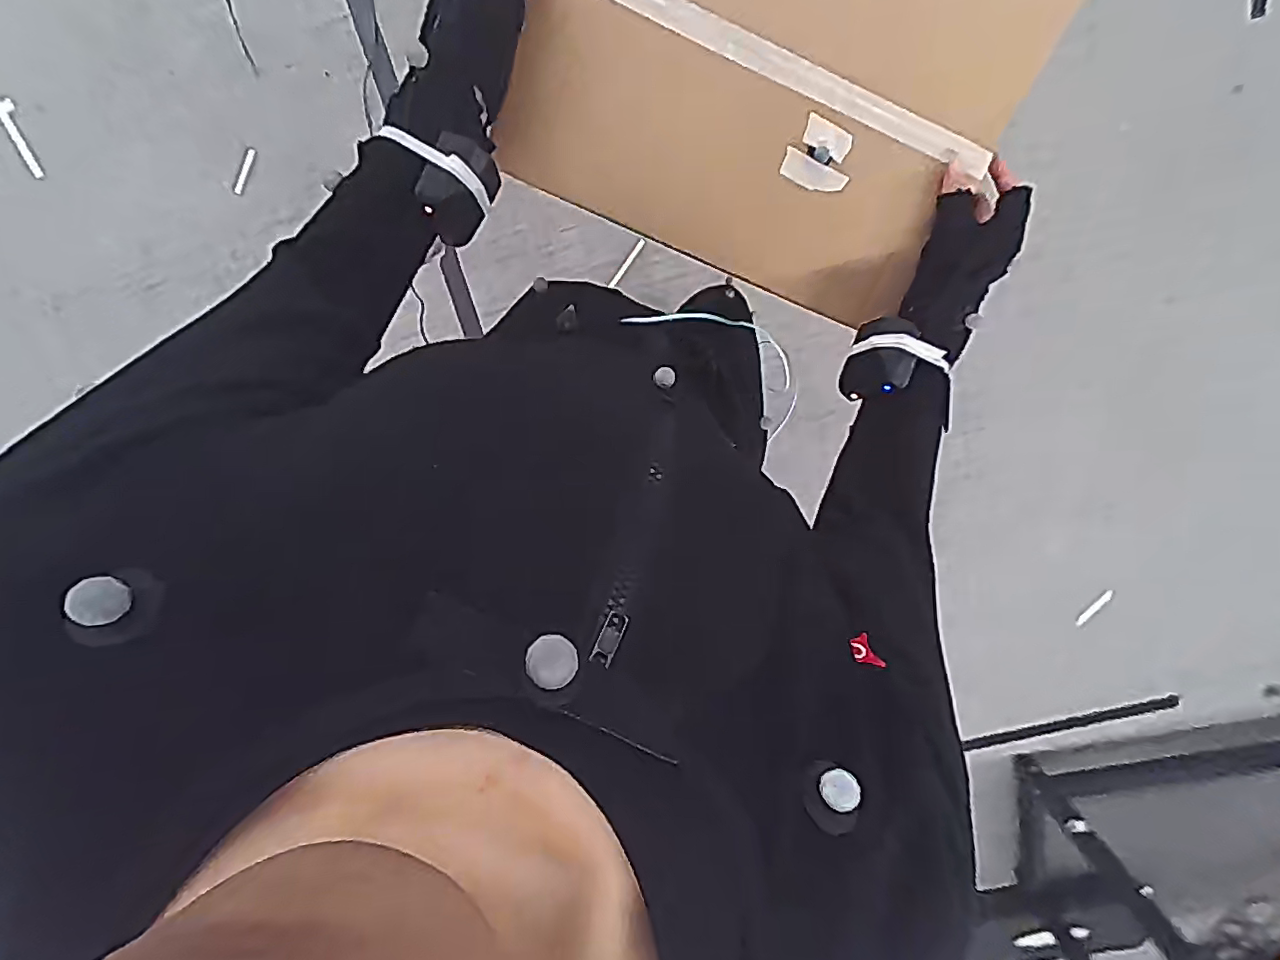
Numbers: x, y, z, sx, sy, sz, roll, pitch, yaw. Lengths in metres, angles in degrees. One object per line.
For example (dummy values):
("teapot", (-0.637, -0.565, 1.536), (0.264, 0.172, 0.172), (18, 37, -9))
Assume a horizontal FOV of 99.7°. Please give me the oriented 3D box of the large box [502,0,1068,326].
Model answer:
("large box", (0.114, -0.408, 0.588), (0.408, 0.320, 0.320), (21, 115, -8))
